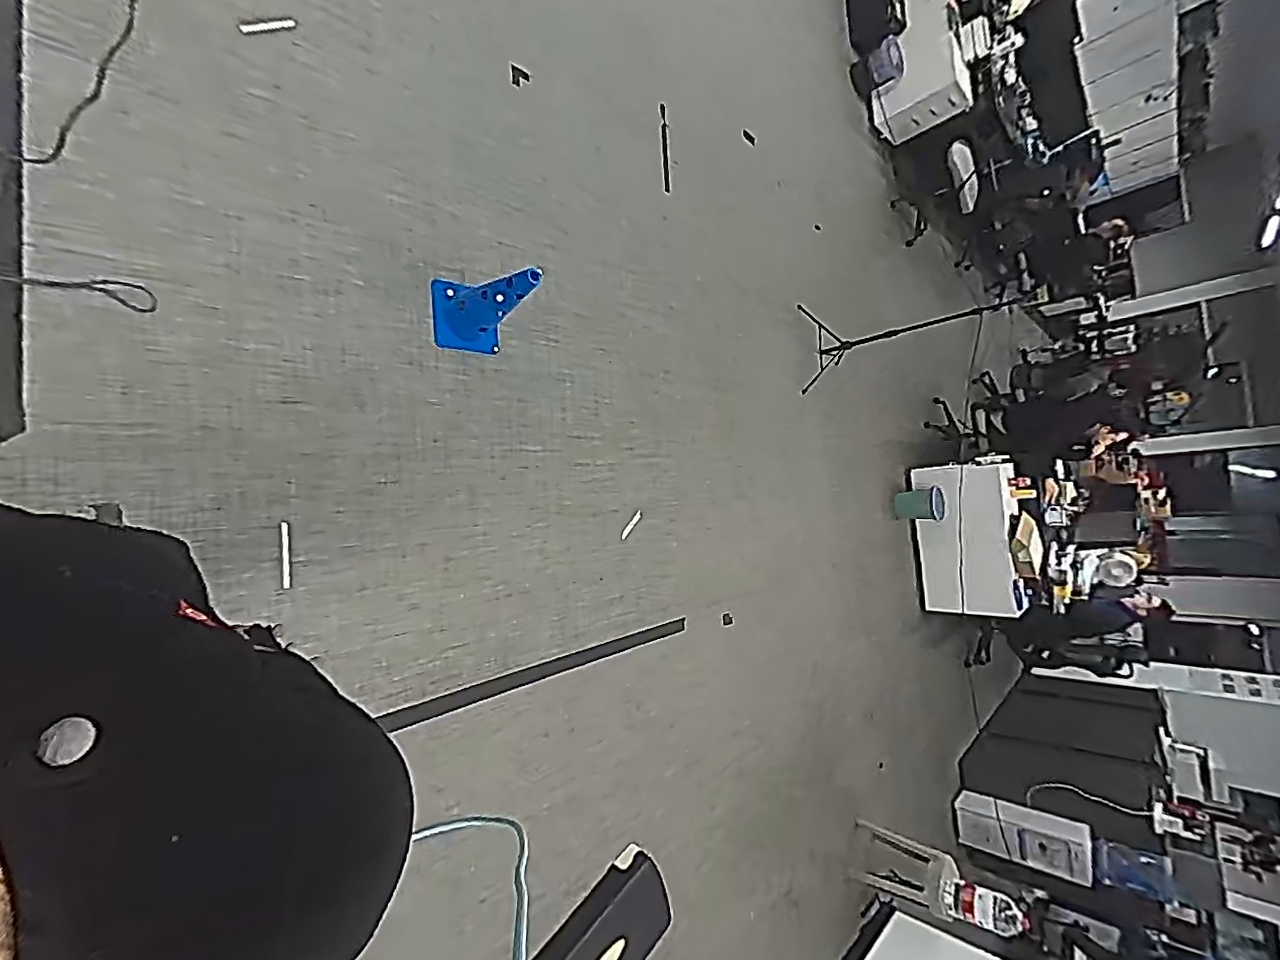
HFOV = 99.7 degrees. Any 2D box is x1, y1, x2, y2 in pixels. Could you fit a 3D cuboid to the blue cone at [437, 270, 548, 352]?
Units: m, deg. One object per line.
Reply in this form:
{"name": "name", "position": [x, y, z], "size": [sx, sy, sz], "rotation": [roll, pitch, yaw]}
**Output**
{"name": "blue cone", "position": [-0.382, -0.487, 1.458], "size": [0.192, 0.380, 0.193], "rotation": [0, 85, -46]}
